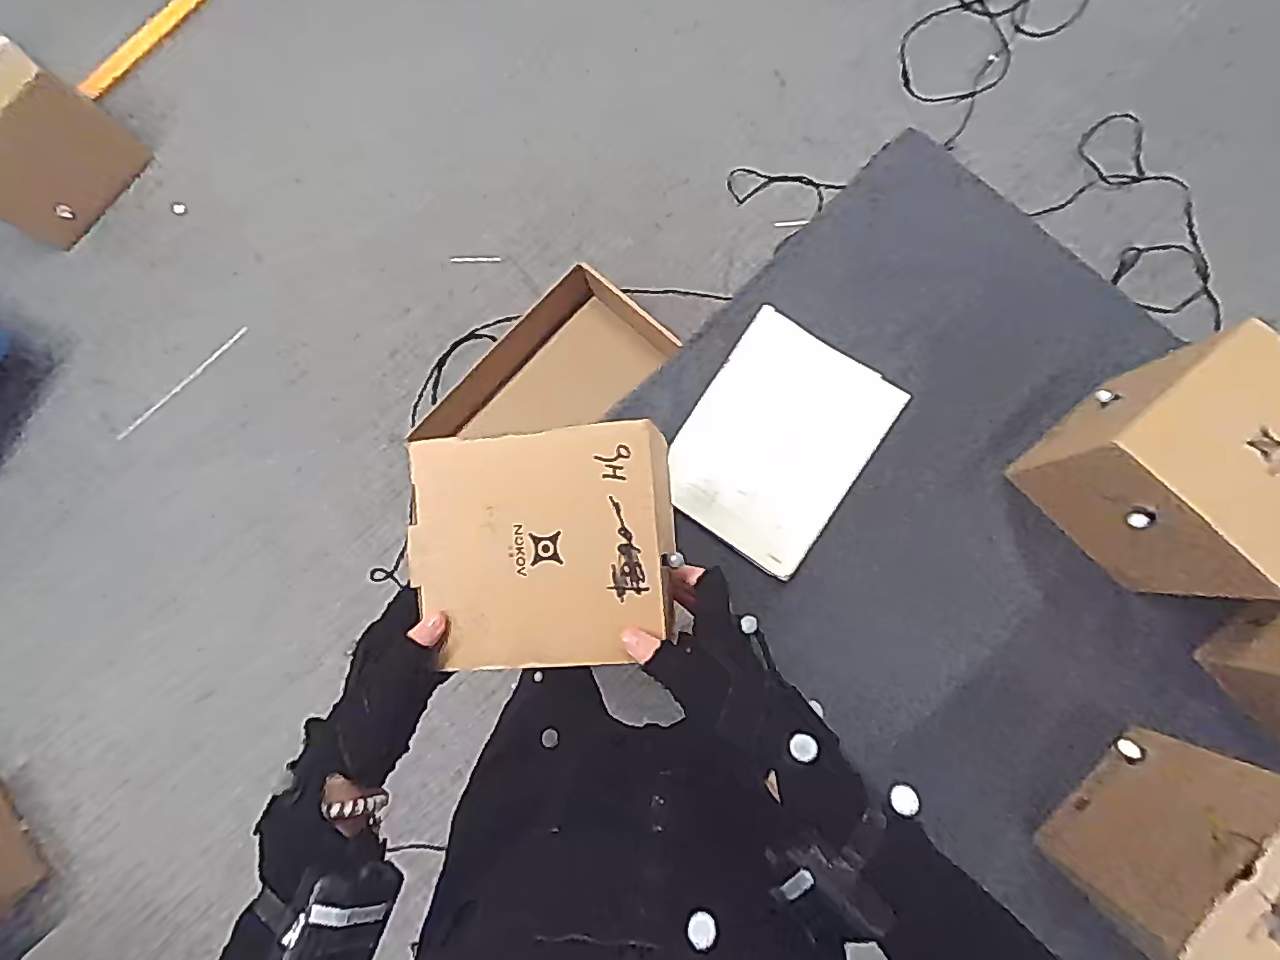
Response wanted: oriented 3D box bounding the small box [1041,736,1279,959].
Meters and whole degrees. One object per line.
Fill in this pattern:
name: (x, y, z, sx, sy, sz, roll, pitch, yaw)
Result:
small box: (0.507, 0.349, 0.462, 0.168, 0.176, 0.179, -44, 81, -3)
